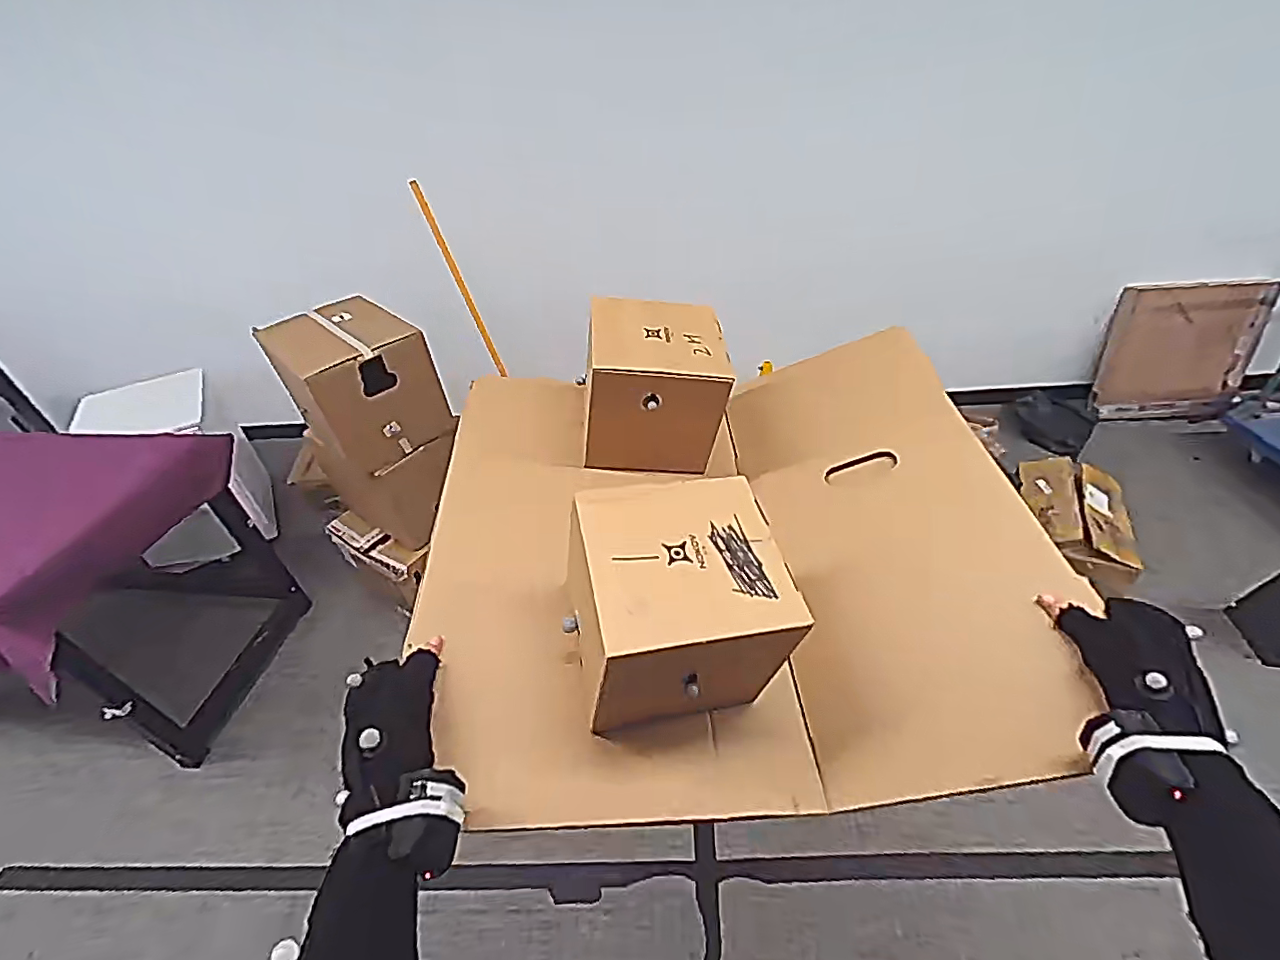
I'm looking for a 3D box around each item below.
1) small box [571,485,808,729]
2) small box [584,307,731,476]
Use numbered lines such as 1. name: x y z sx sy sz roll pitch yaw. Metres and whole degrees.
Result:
1. small box: 0.030 0.125 0.536 0.179 0.176 0.168 -5 49 -14
2. small box: 0.013 -0.121 0.760 0.179 0.176 0.168 3 48 -8
